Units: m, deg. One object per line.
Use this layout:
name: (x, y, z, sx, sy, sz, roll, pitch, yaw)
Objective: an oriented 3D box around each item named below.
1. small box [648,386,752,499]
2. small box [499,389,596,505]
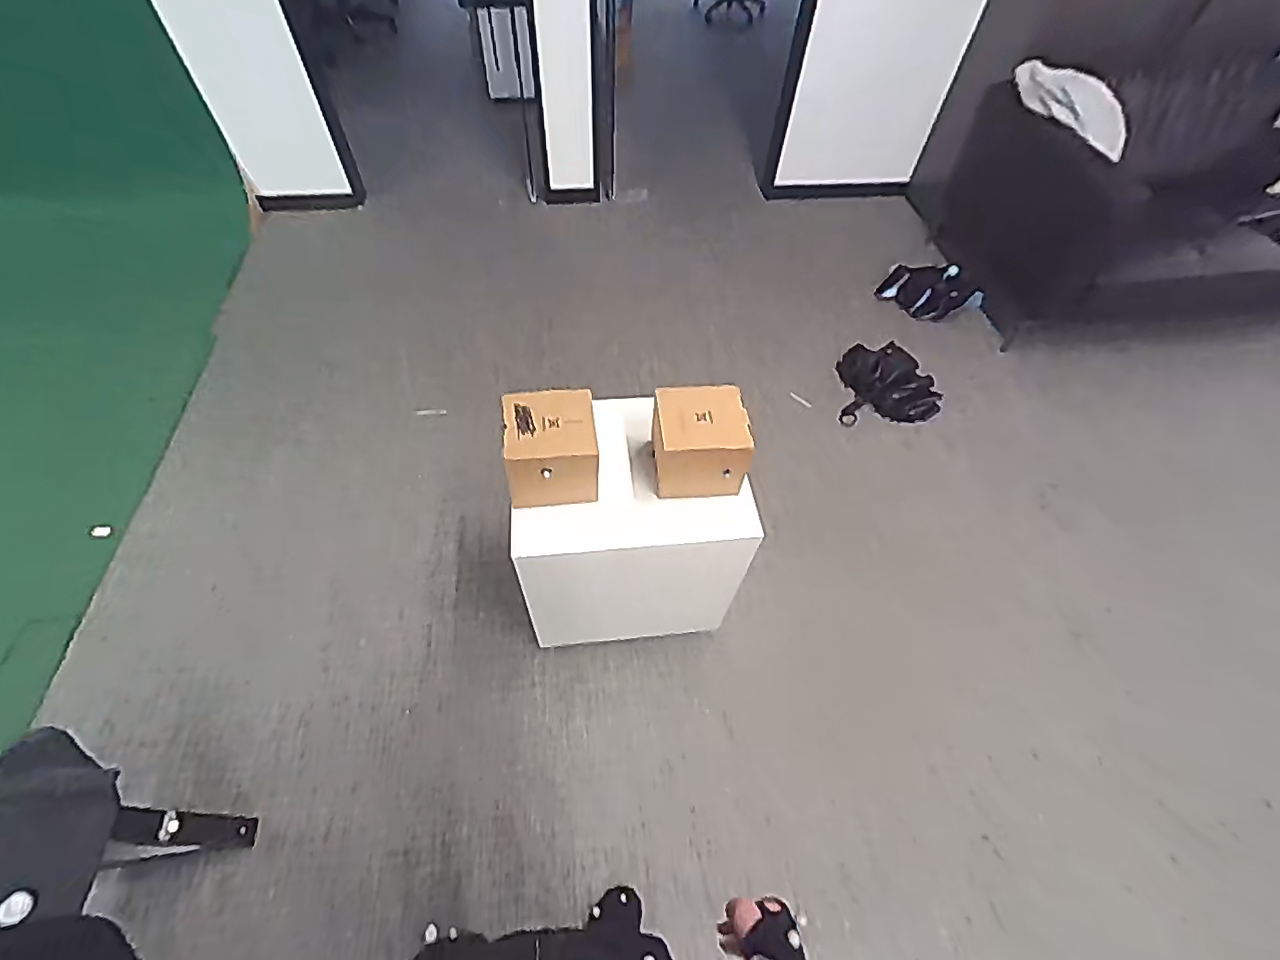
small box: (0.114, -0.074, 1.113, 0.179, 0.176, 0.168, -4, 55, -4)
small box: (-0.182, -0.062, 1.082, 0.179, 0.176, 0.168, -4, 56, -9)
